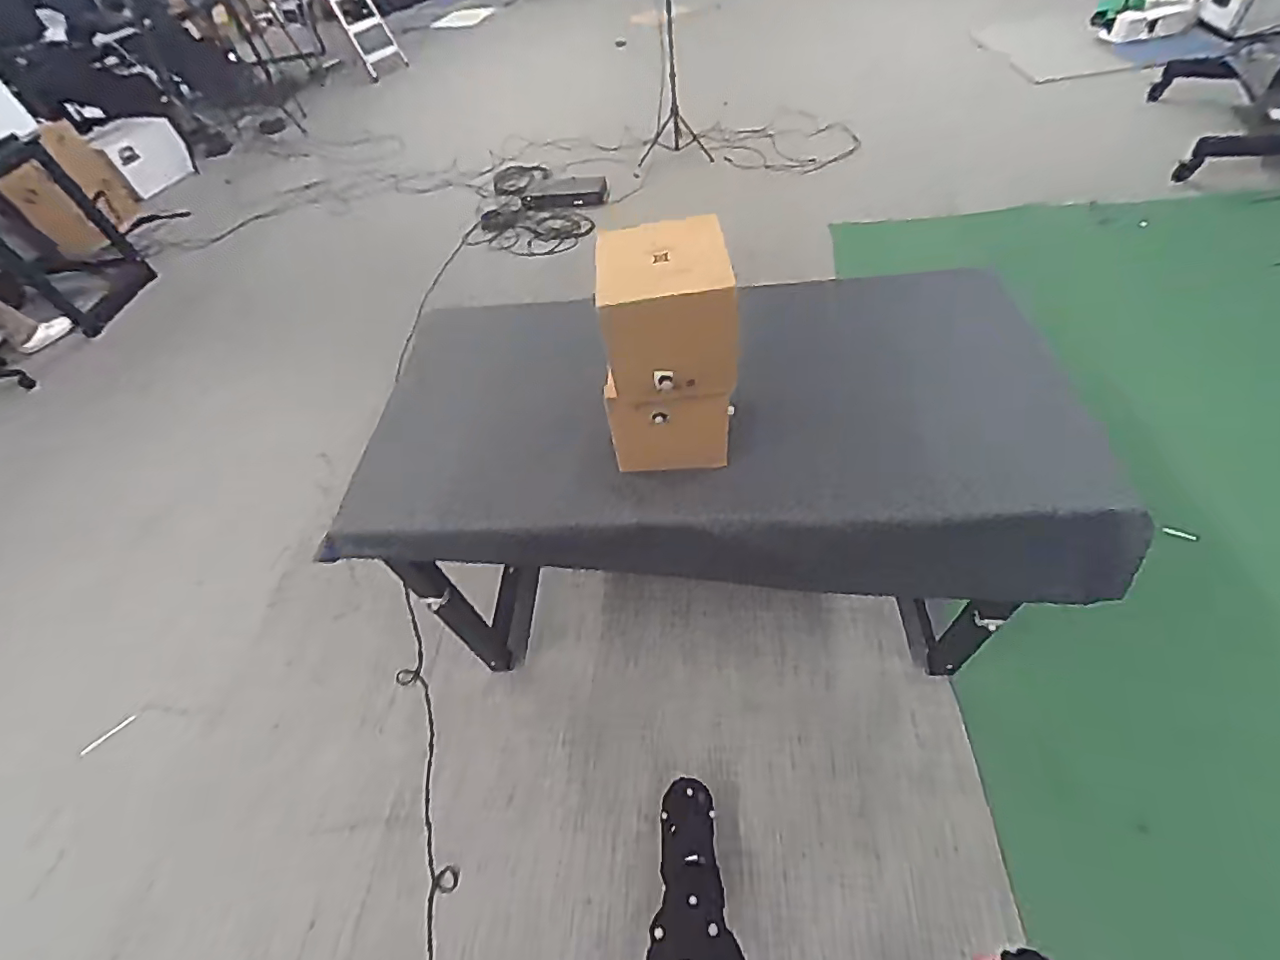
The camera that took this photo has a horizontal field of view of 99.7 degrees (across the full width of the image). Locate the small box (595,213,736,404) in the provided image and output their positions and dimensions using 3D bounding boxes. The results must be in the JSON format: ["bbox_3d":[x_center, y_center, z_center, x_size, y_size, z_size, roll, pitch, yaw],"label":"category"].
[{"bbox_3d":[0.036,-0.229,0.735,0.168,0.176,0.179,-8,53,5],"label":"small box"}]

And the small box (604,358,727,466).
[{"bbox_3d":[0.048,-0.135,0.866,0.179,0.176,0.168,-2,52,7],"label":"small box"}]
